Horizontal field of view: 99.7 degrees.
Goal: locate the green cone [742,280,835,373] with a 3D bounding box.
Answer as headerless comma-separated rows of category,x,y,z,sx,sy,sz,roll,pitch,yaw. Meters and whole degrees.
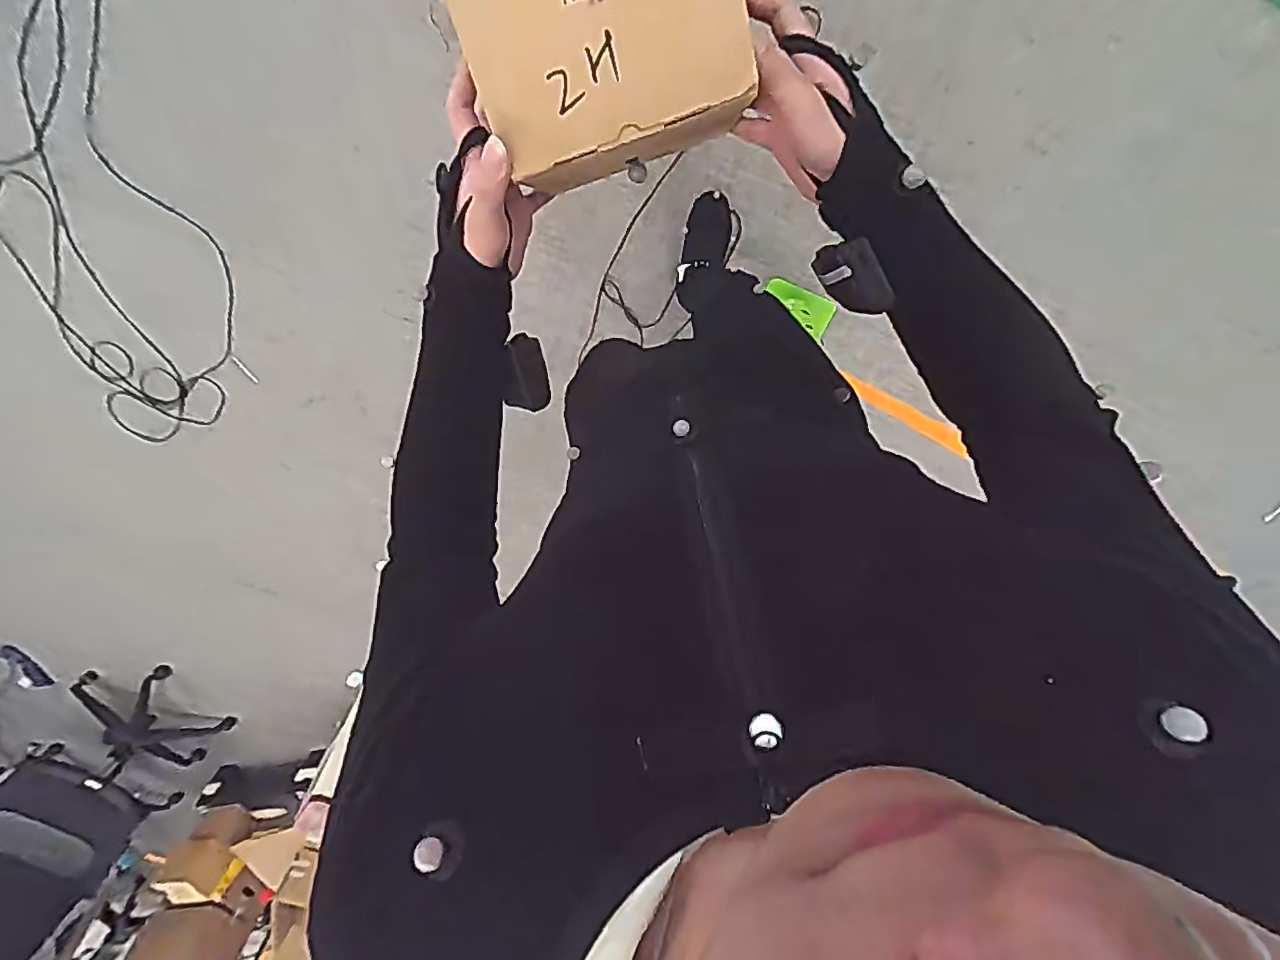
green cone,0.397,-0.342,1.340,0.202,0.368,0.200,20,118,-7

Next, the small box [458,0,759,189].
small box,-0.025,-0.326,0.382,0.168,0.176,0.179,-14,115,8
